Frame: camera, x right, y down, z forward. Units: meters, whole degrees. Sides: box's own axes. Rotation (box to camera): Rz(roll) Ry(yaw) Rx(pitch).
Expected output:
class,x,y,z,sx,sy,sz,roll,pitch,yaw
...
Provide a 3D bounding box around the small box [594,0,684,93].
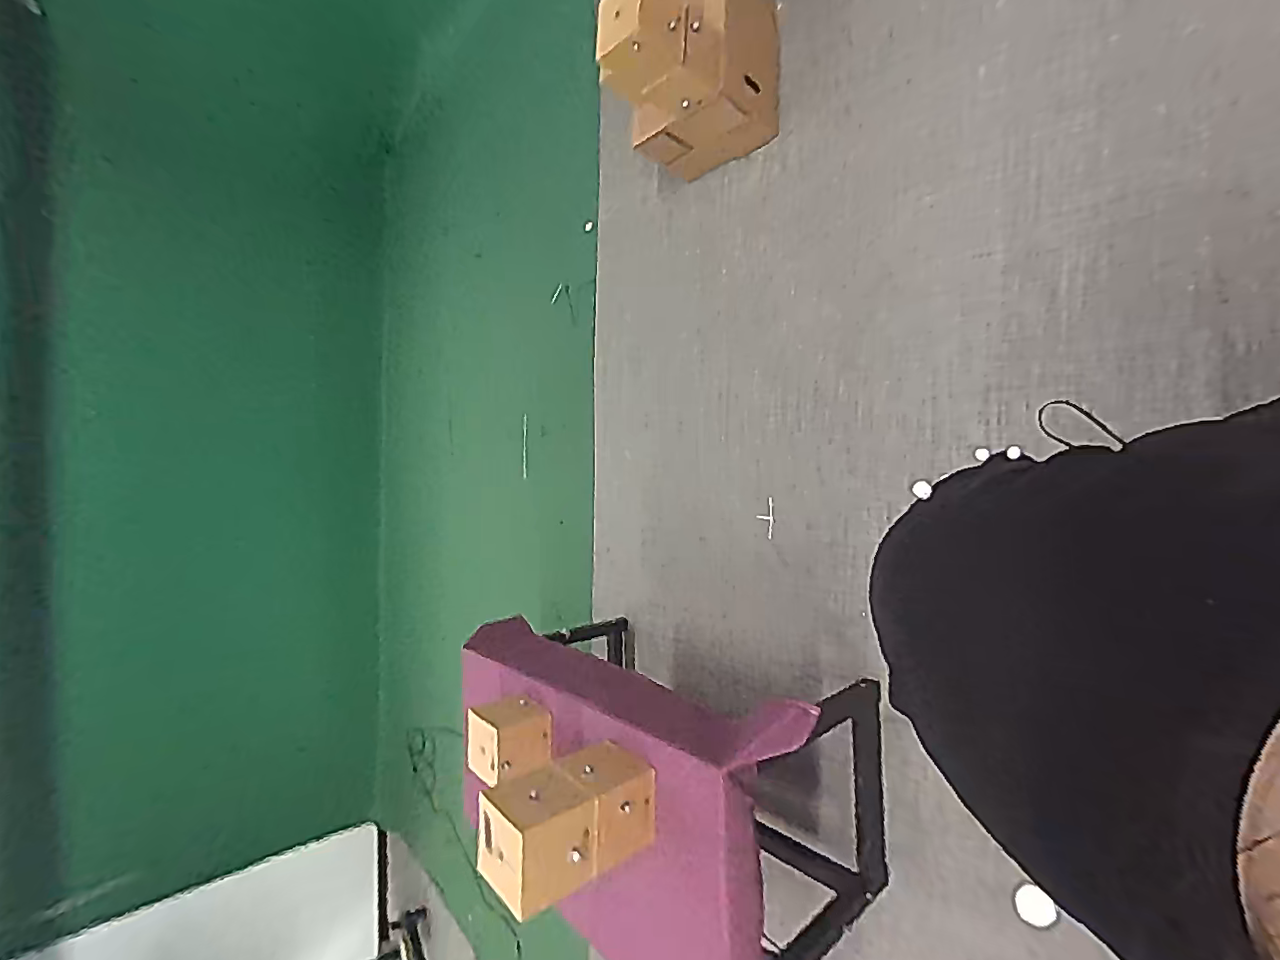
class,x,y,z,sx,sy,sz,roll,pitch,yaw
small box,-0.003,-1.217,1.486,0.179,0.176,0.168,6,93,46

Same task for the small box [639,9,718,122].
class,x,y,z,sx,sy,sz,roll,pitch,yaw
small box,0.116,-1.213,1.599,0.168,0.176,0.179,5,92,48

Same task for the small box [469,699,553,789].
class,x,y,z,sx,sy,sz,roll,pitch,yaw
small box,-0.361,0.729,1.506,0.179,0.176,0.168,0,91,49

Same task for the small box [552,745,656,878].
class,x,y,z,sx,sy,sz,roll,pitch,yaw
small box,-0.079,0.715,1.194,0.179,0.176,0.168,2,91,49

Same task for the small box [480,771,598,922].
class,x,y,z,sx,sy,sz,roll,pitch,yaw
small box,-0.204,0.718,1.088,0.179,0.176,0.168,1,91,47
